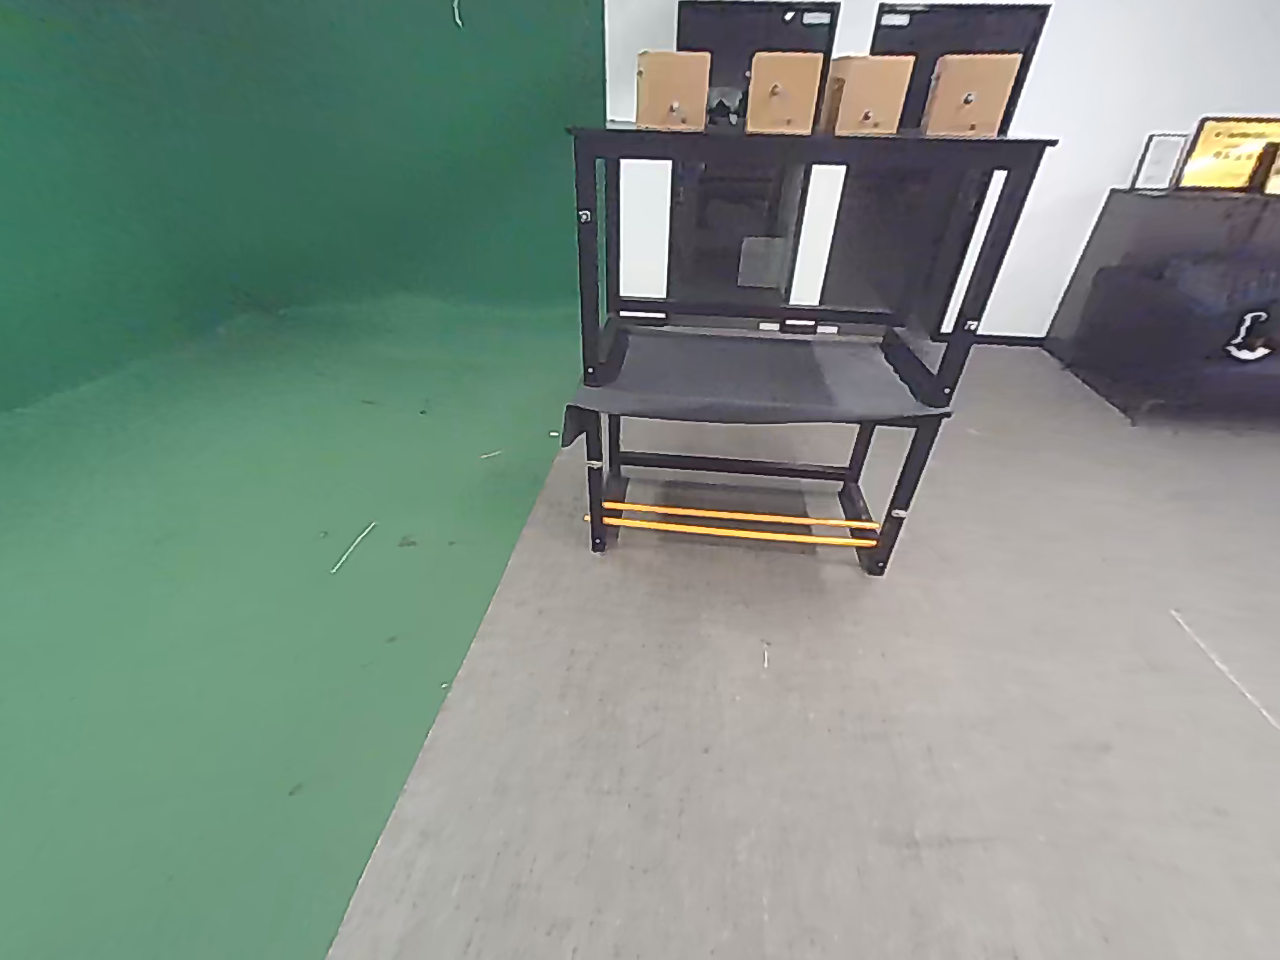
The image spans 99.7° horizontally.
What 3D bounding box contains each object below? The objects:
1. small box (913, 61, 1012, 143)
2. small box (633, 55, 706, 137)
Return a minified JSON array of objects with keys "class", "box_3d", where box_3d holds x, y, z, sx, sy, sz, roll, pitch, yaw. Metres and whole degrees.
[{"class":"small box","box_3d":[0.834,-0.987,1.417,0.168,0.176,0.179,11,36,13]},{"class":"small box","box_3d":[0.074,-1.054,1.488,0.168,0.176,0.179,-4,36,-9]}]
